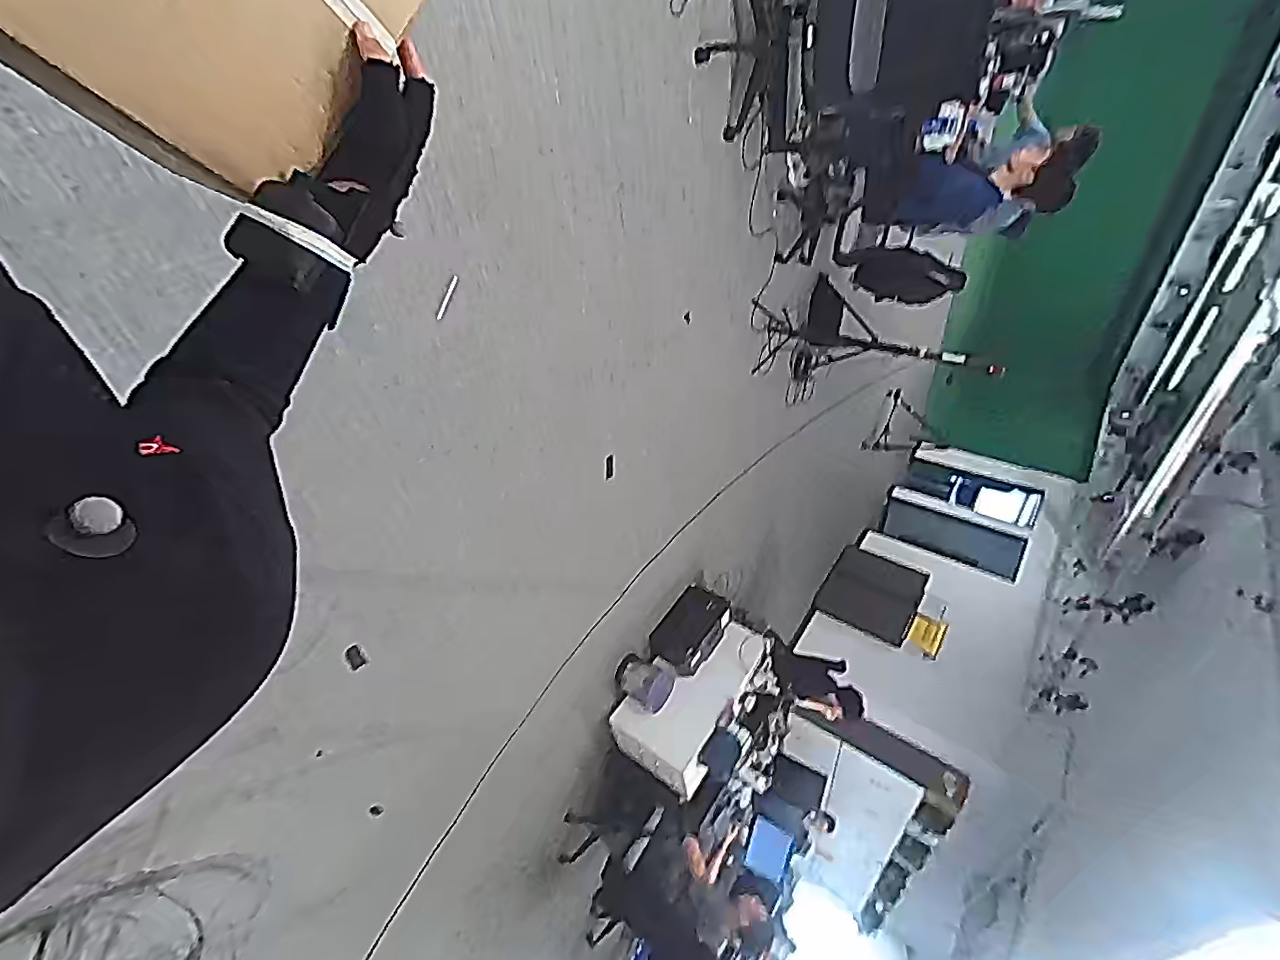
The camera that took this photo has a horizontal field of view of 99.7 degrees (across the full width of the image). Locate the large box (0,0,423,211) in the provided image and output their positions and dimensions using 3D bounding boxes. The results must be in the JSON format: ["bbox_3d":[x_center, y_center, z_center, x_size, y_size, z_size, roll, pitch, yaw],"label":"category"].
[{"bbox_3d":[-0.407,-0.461,0.351,0.320,0.320,0.408,-59,148,0],"label":"large box"}]
